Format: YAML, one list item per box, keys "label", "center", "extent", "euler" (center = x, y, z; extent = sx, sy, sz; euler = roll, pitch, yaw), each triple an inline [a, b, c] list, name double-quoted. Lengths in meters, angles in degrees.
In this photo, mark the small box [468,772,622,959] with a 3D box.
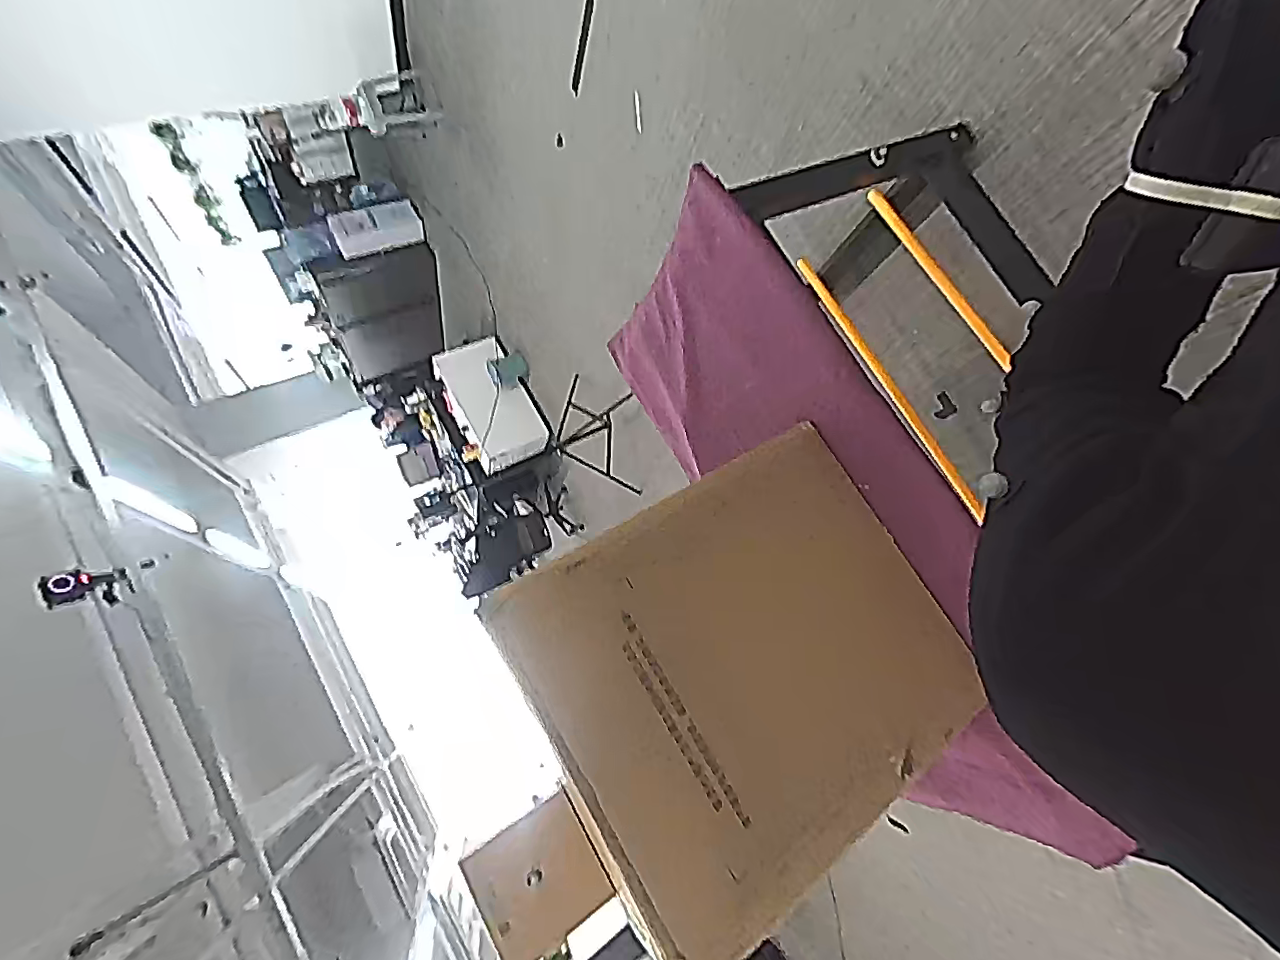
- label: "small box"
  center: [-0.152, 0.584, 0.837]
  extent: [0.168, 0.176, 0.179]
  euler: [58, 156, 15]
